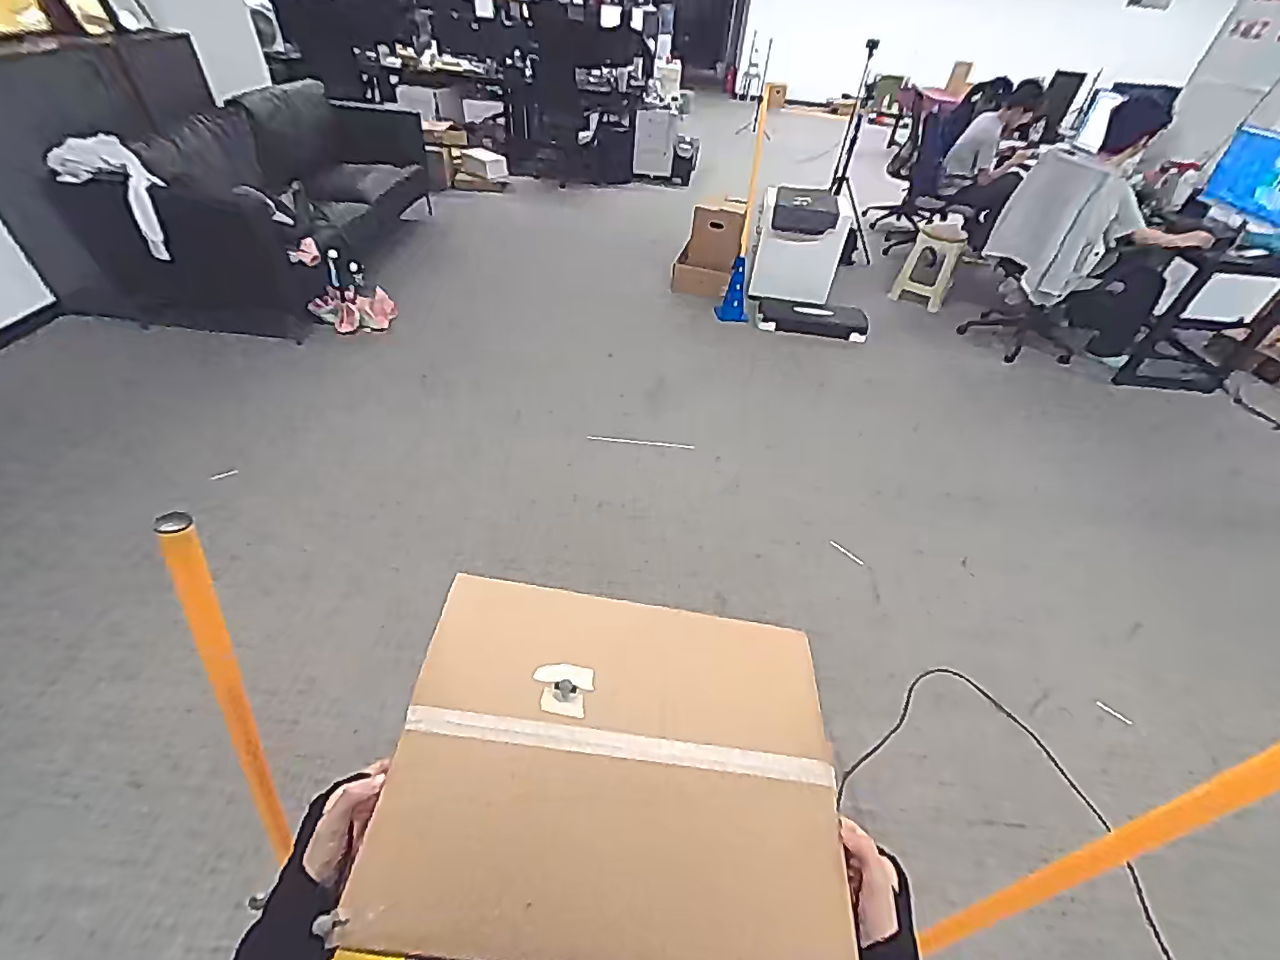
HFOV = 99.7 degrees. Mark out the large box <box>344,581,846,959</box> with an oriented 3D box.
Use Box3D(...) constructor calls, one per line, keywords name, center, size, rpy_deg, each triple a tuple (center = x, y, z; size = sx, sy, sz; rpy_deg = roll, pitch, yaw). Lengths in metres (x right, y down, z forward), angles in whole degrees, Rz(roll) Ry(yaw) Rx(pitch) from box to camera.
Box3D(name="large box", center=(-0.041, 0.352, 0.627), size=(0.408, 0.320, 0.320), rpy_deg=(10, 47, -5))
